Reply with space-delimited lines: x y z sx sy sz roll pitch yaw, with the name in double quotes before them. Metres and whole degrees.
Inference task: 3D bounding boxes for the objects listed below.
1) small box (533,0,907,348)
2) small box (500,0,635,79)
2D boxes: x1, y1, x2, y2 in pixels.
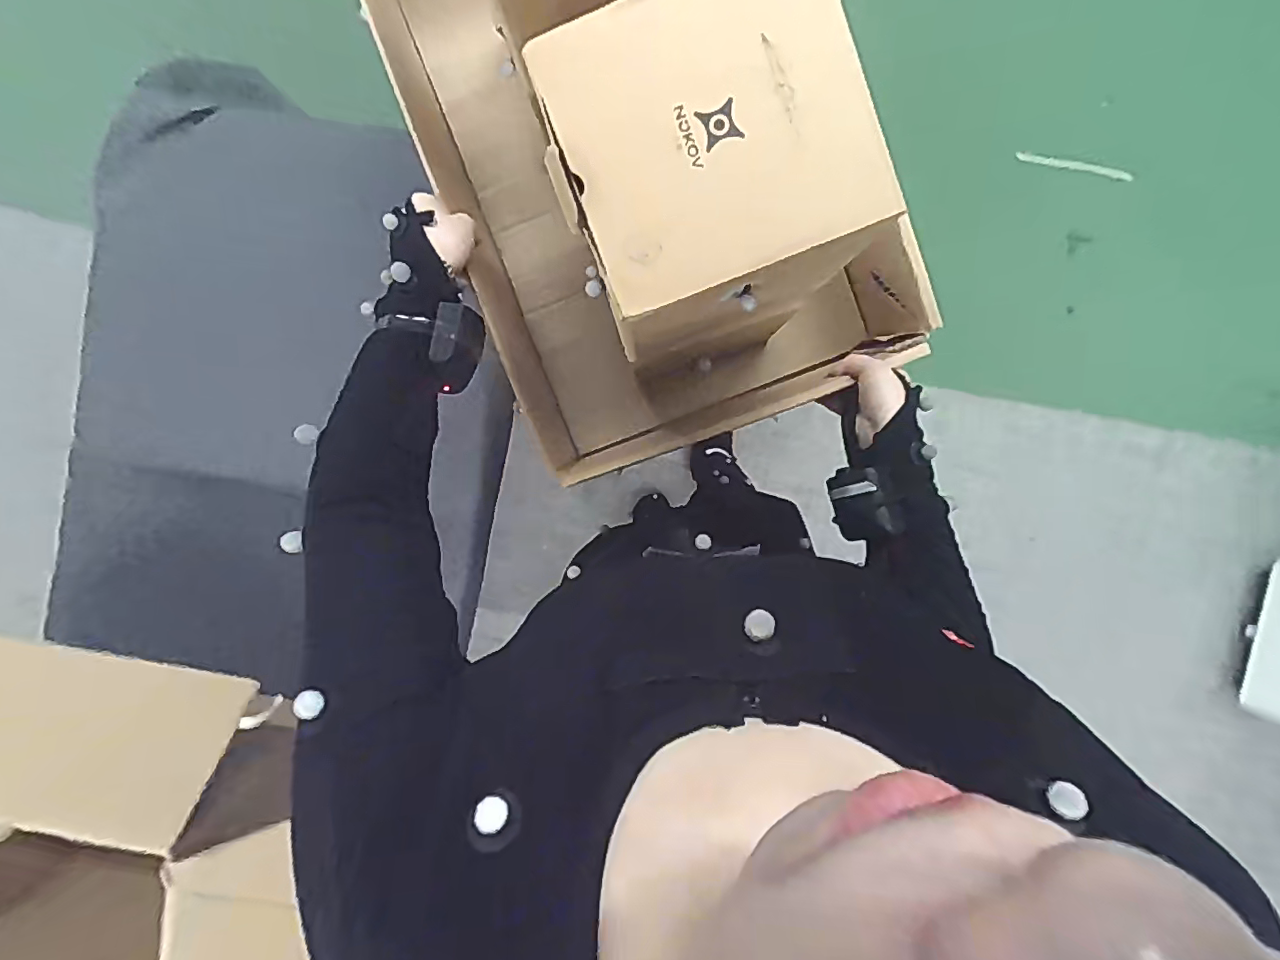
"small box" 0.049 -0.207 0.387 0.179 0.176 0.168 -20 96 4
"small box" -0.039 -0.423 0.369 0.179 0.176 0.168 -21 97 3
